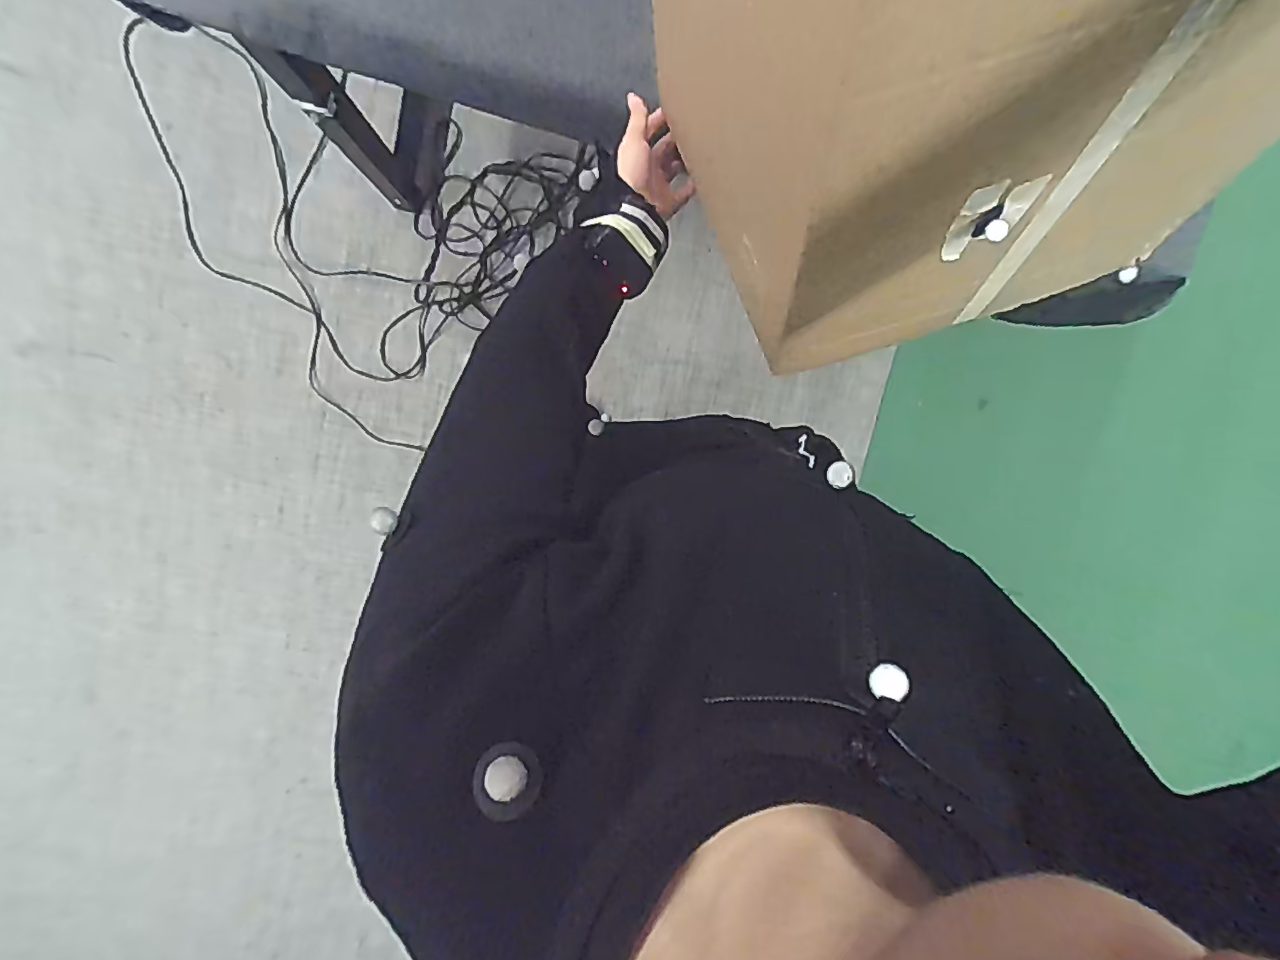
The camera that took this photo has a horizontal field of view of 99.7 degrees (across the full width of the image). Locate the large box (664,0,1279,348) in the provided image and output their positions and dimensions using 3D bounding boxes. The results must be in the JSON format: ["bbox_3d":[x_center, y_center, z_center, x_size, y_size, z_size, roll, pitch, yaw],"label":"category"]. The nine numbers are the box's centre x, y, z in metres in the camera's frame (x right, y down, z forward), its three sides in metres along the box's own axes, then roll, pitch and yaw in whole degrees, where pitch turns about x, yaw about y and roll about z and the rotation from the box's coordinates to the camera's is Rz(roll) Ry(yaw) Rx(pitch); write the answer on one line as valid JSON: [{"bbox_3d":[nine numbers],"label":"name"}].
[{"bbox_3d":[0.192,-0.346,0.301,0.320,0.408,0.320,-18,73,2],"label":"large box"}]
